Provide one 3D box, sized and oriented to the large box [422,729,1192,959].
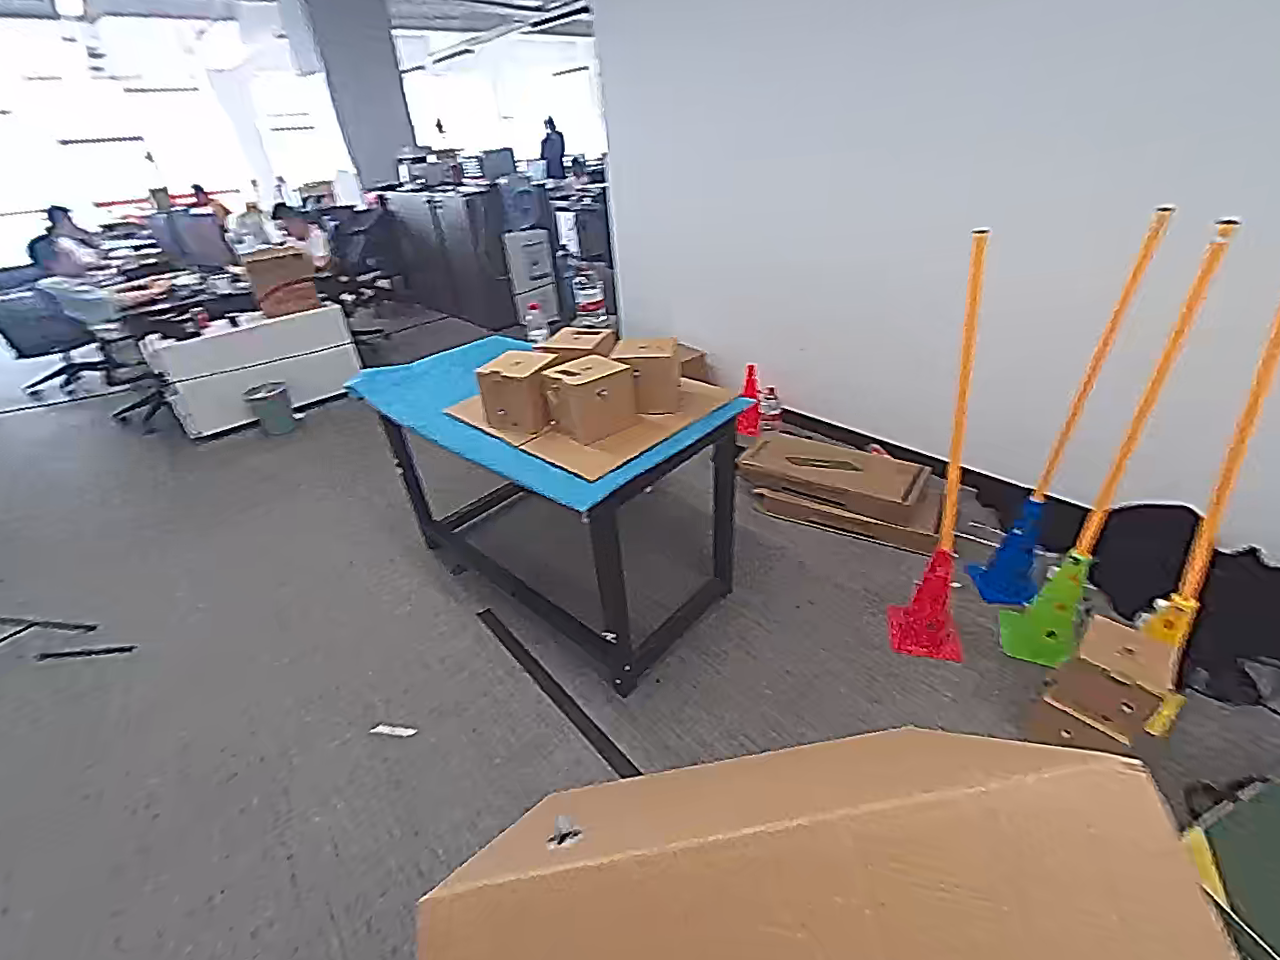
[{"bbox_3d":[0.108,0.394,0.393,0.408,0.320,0.320,-12,69,-1],"label":"large box"}]
